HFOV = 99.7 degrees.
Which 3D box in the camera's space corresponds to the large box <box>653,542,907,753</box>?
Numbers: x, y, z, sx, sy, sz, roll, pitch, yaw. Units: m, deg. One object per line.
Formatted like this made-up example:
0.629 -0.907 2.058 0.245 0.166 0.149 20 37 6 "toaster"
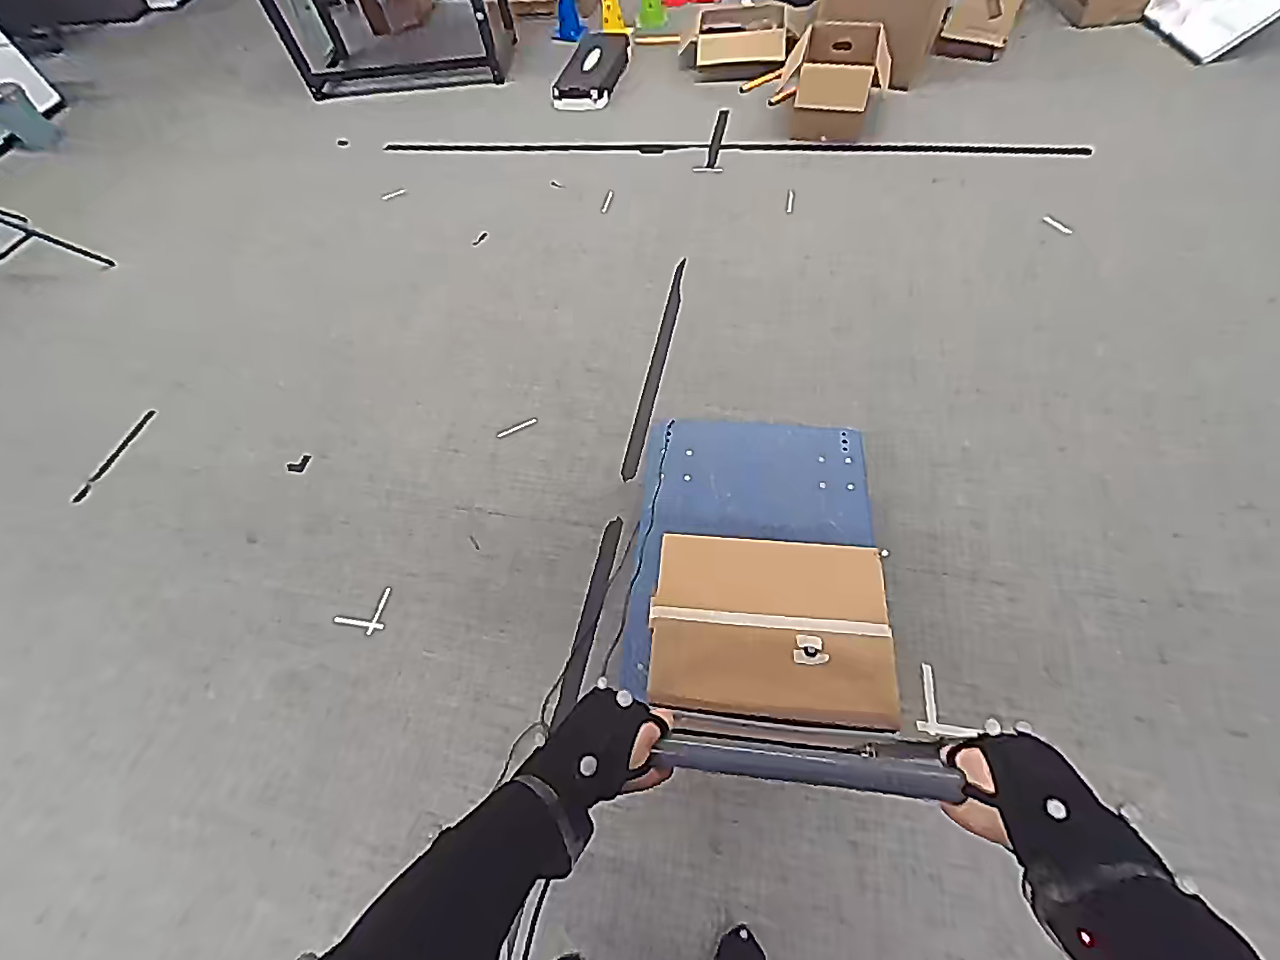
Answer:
0.238 0.332 1.052 0.408 0.320 0.320 3 60 7 "large box"
